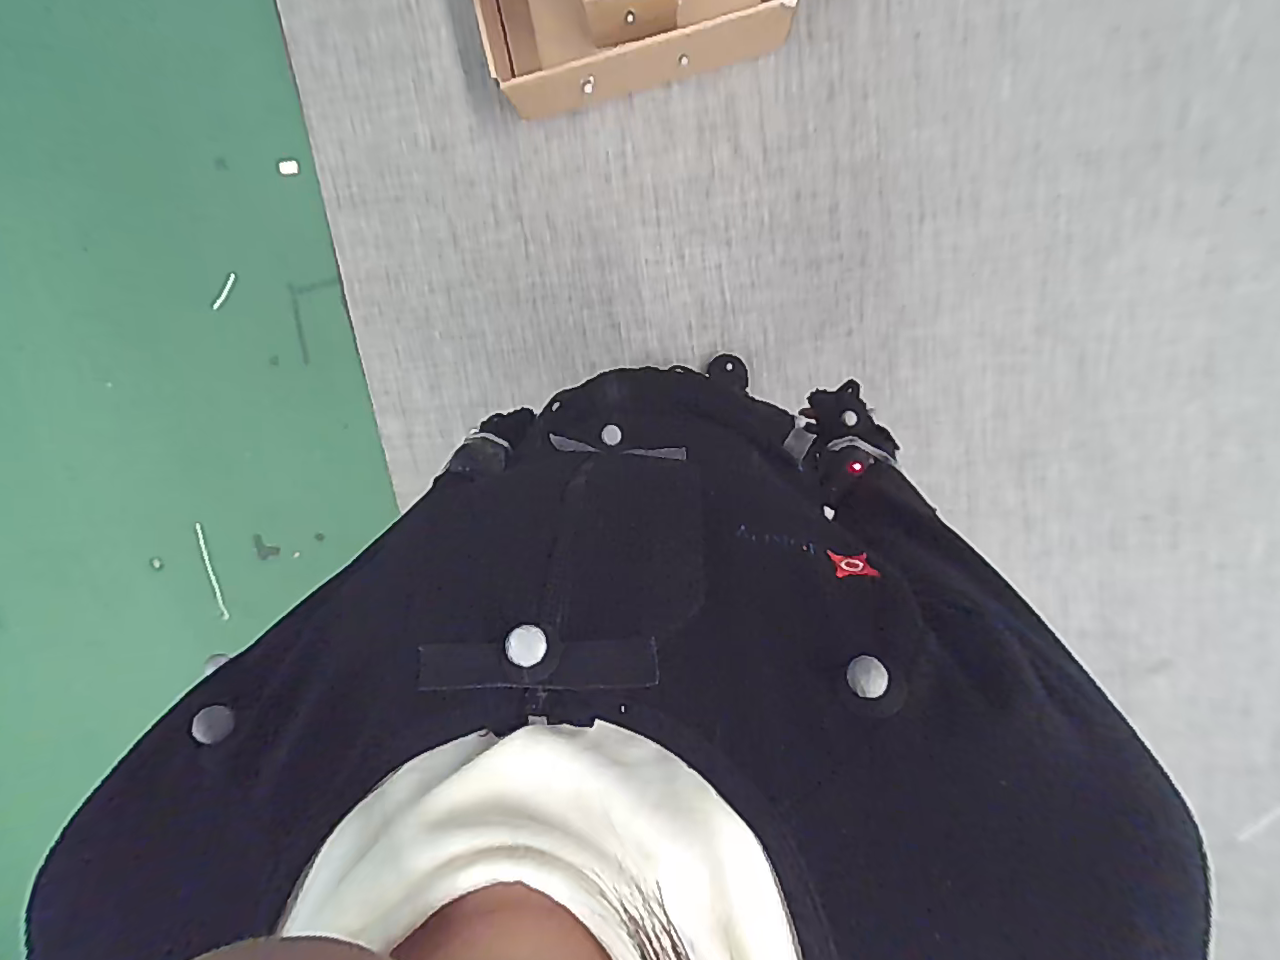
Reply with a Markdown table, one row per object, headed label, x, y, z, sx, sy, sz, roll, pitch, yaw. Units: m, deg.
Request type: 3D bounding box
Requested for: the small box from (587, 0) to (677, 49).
| label | x | y | z | sx | sy | sz | roll | pitch | yaw |
| --- | --- | --- | --- | --- | --- | --- | --- | --- | --- |
| small box | -0.024 | -1.011 | 1.075 | 0.179 | 0.176 | 0.168 | -10 | 101 | 8 |
